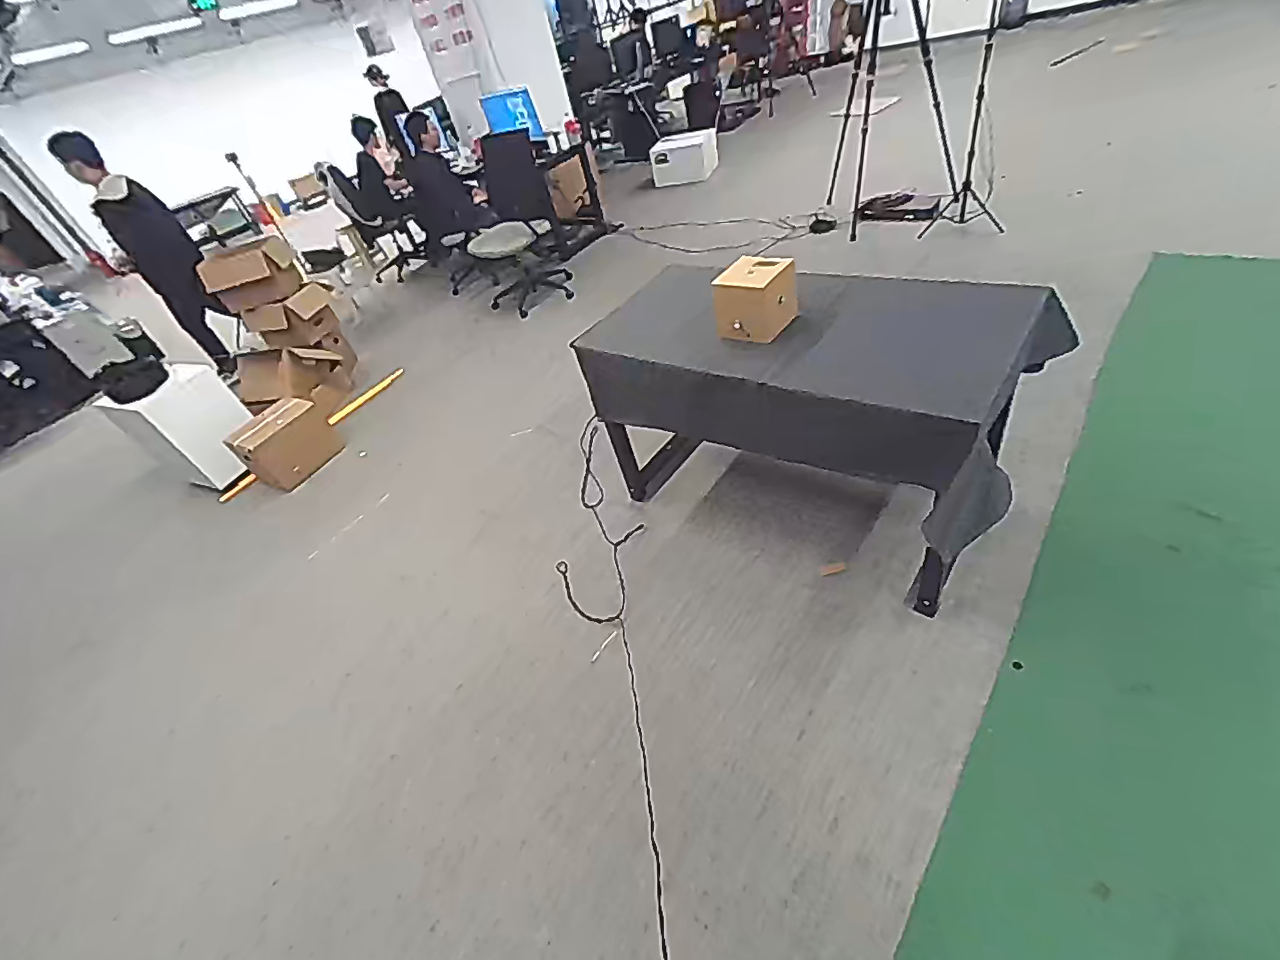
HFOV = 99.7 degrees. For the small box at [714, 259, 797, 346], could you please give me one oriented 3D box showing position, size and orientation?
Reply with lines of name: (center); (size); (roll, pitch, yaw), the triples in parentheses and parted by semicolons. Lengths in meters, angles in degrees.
small box: (0.332, -0.507, 1.537); (0.168, 0.176, 0.179); (21, 54, 37)
